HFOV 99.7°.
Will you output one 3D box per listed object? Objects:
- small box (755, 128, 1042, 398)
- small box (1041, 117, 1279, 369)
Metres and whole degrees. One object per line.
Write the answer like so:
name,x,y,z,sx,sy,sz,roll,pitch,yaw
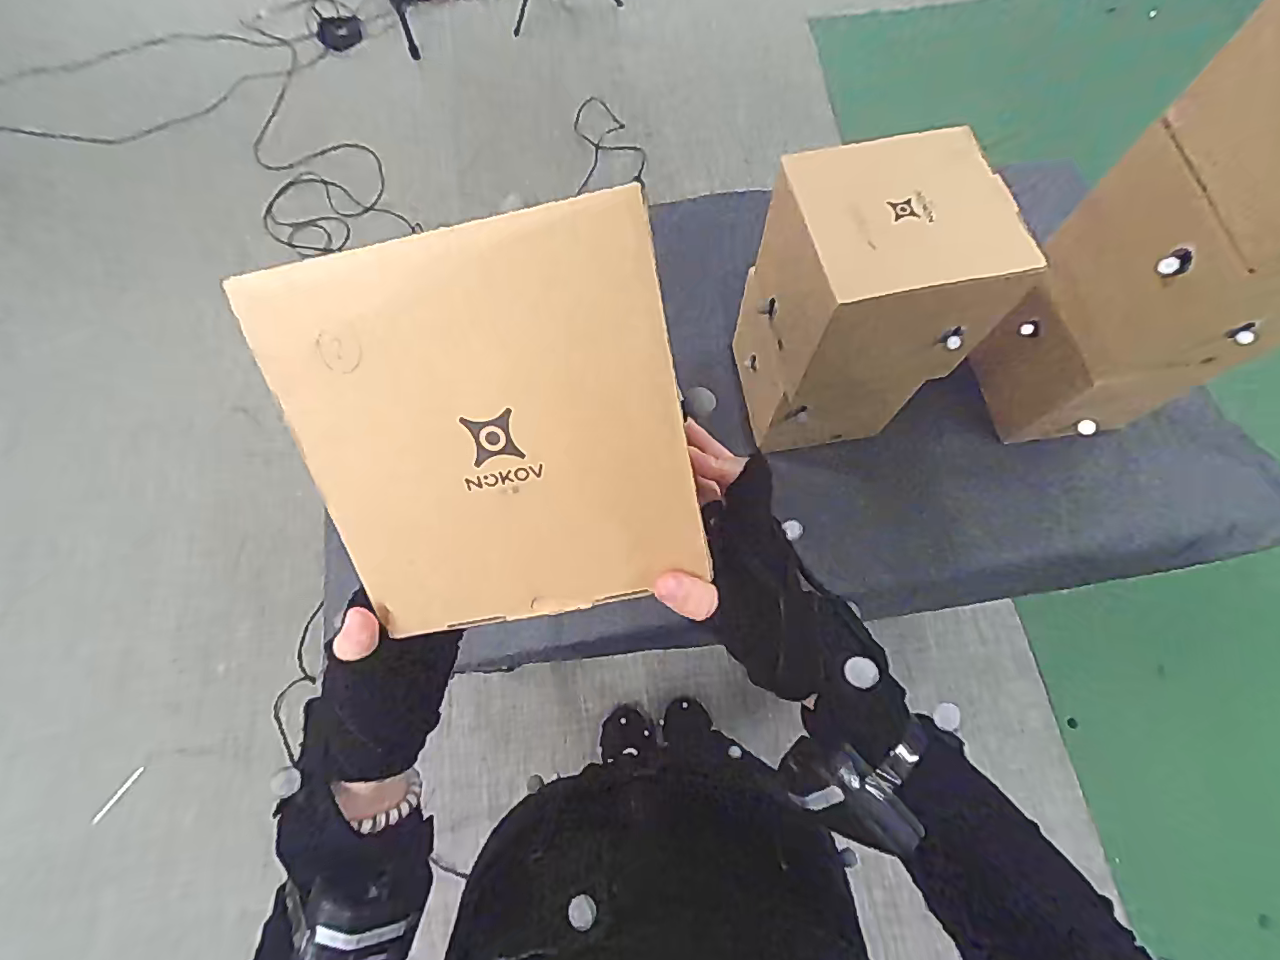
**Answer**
small box,0.229,-0.201,0.534,0.179,0.176,0.168,-11,69,-2
small box,0.549,-0.222,0.528,0.168,0.176,0.179,-6,70,0
